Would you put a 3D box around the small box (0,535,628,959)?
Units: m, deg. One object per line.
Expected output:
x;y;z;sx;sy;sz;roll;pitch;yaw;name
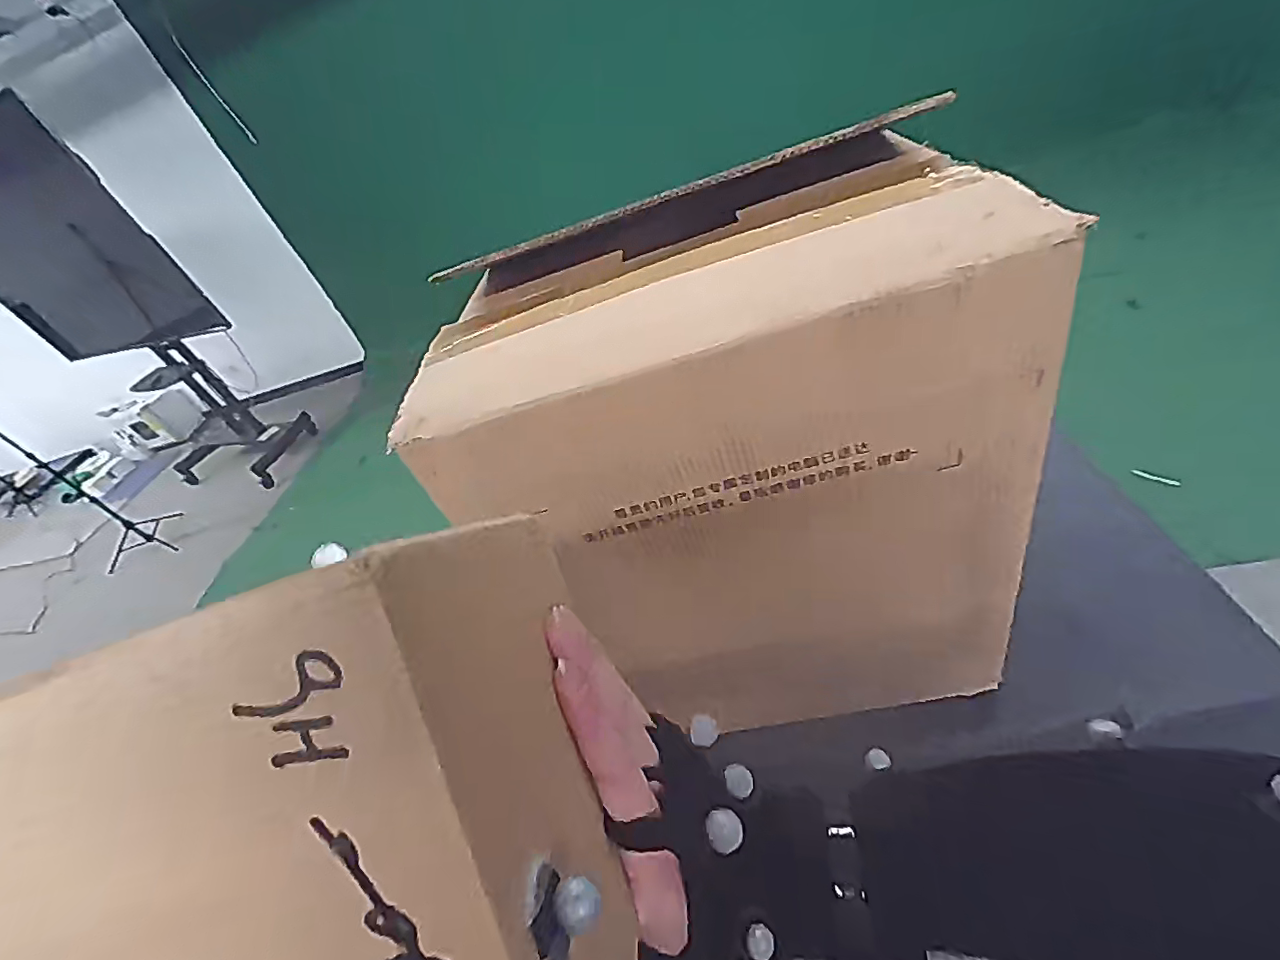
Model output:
-0.112;0.128;0.199;0.179;0.168;0.176;-19;0;1;small box
